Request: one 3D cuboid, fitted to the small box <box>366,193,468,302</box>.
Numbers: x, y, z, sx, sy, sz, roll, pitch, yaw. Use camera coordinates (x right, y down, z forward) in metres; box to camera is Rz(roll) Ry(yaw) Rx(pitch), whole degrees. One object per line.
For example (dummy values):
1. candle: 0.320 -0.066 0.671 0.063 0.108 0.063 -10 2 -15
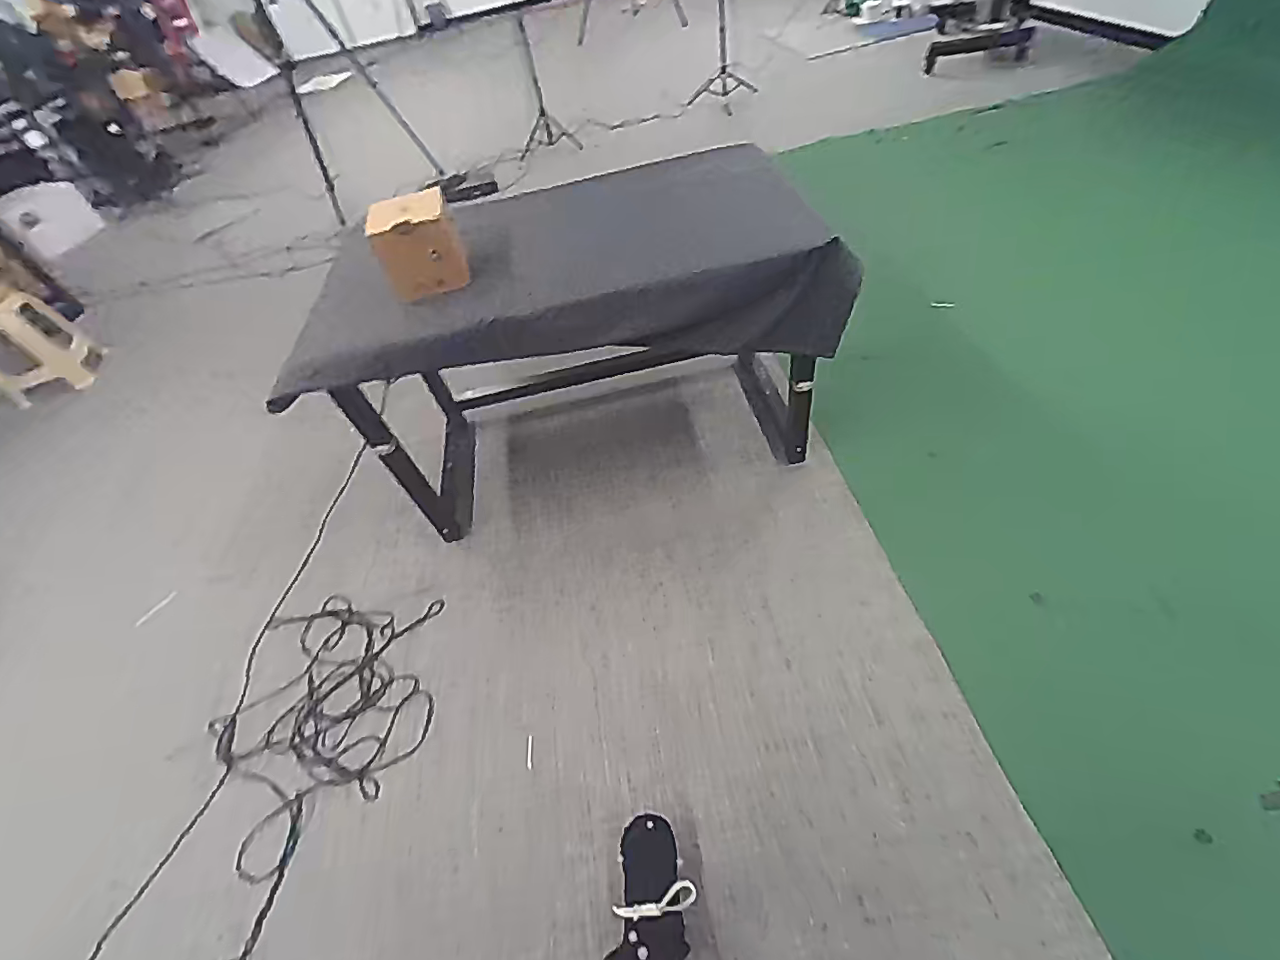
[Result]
1. small box: -0.512 -0.534 1.259 0.168 0.176 0.179 -17 48 -5
